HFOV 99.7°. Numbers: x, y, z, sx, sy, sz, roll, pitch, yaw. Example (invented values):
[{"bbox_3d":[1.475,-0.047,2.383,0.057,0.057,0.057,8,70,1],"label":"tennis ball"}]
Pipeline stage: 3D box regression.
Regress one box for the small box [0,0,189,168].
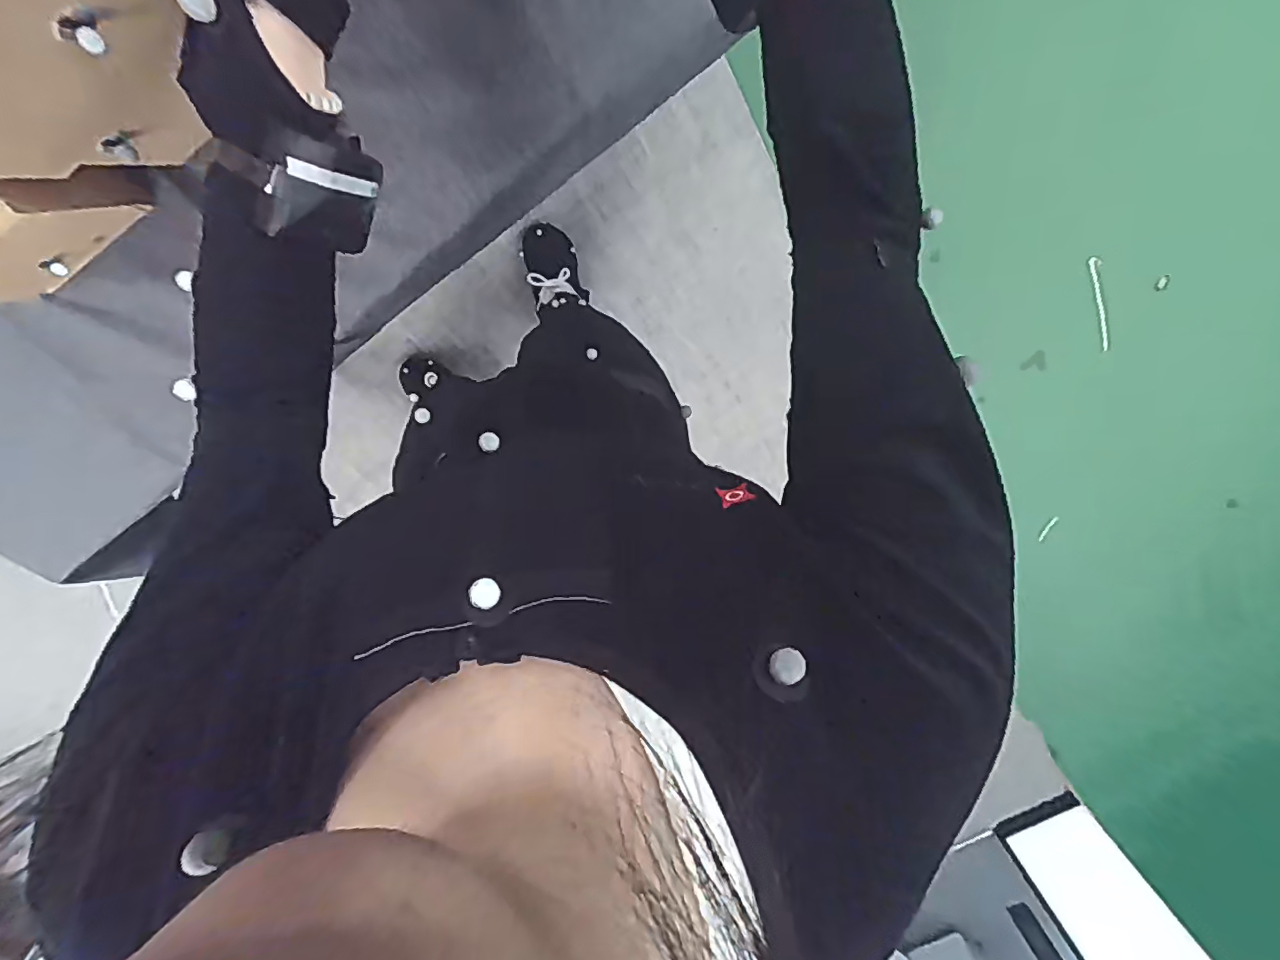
[{"bbox_3d":[-0.394,-0.293,0.280,0.179,0.176,0.168,-35,118,12],"label":"small box"}]
